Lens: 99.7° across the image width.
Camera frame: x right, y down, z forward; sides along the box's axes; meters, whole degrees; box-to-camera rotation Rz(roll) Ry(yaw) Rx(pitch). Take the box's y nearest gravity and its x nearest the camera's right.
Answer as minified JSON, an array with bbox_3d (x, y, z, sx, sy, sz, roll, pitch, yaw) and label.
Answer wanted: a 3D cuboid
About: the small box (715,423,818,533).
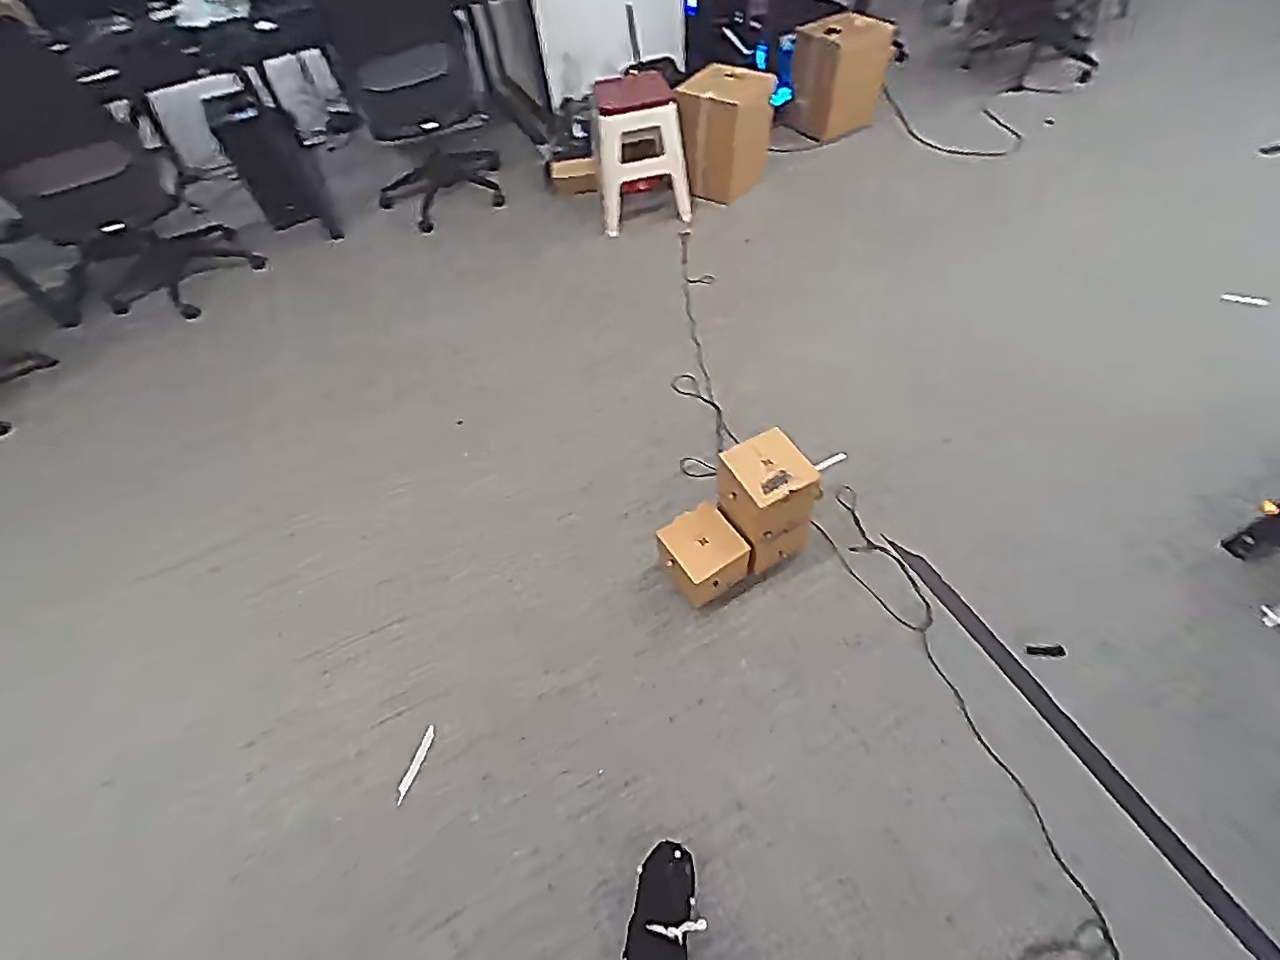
[{"bbox_3d":[0.292,0.004,1.284,0.168,0.176,0.179,-26,56,-11],"label":"small box"}]
